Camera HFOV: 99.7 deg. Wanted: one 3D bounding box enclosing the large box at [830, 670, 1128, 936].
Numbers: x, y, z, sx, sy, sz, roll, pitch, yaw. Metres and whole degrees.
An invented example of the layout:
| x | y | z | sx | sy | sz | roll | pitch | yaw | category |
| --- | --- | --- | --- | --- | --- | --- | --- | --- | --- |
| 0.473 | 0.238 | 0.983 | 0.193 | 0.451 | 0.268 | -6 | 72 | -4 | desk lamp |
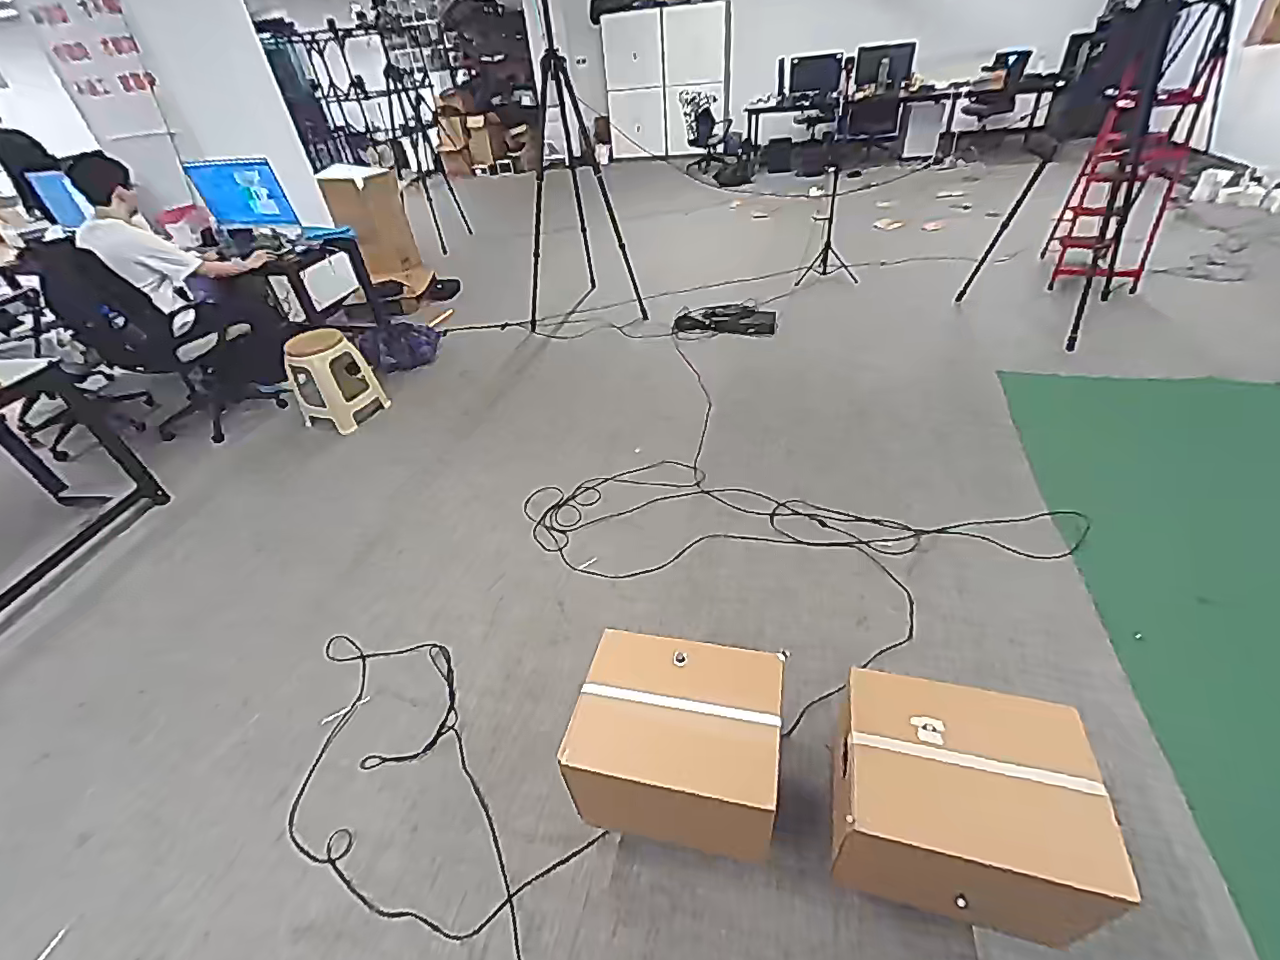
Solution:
| x | y | z | sx | sy | sz | roll | pitch | yaw | category |
| --- | --- | --- | --- | --- | --- | --- | --- | --- | --- |
| 0.605 | 0.626 | 1.067 | 0.408 | 0.320 | 0.320 | 6 | 40 | 16 | large box |
